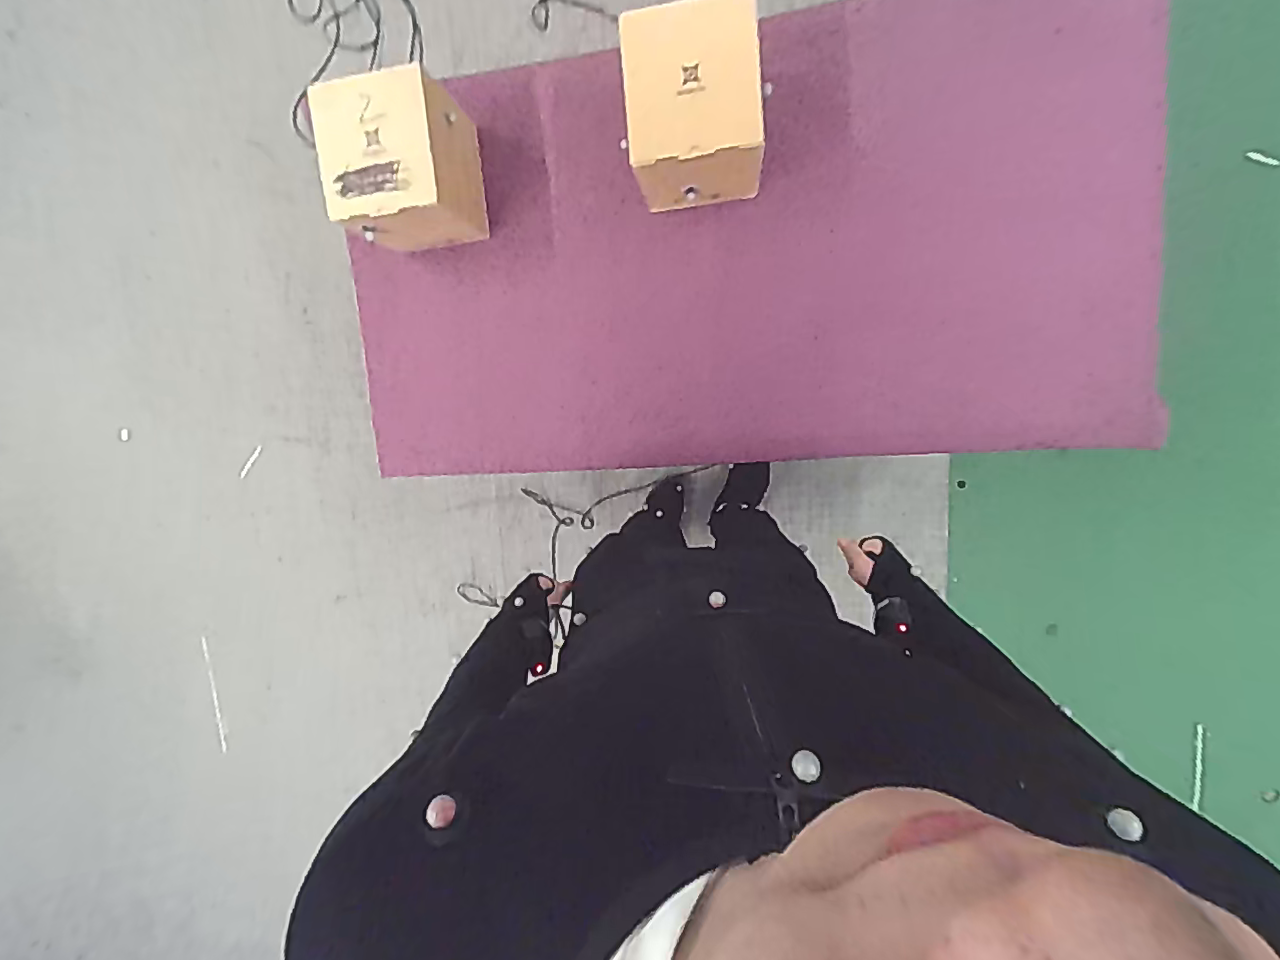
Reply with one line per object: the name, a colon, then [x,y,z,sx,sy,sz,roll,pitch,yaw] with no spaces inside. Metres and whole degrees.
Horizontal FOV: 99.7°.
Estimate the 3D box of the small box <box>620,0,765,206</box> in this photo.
small box: [0.073,-0.496,0.723,0.168,0.176,0.179,-4,98,9]
